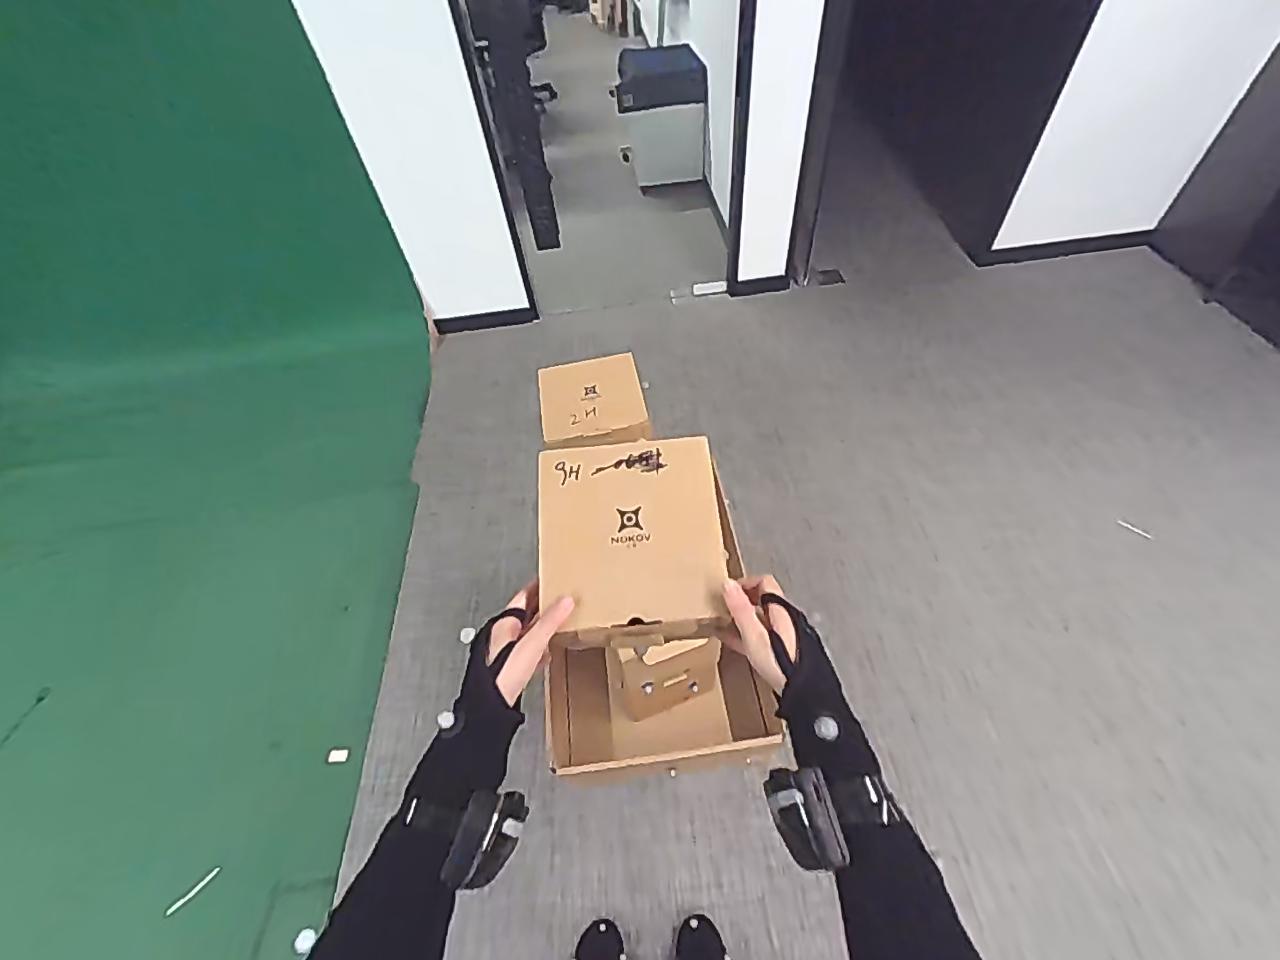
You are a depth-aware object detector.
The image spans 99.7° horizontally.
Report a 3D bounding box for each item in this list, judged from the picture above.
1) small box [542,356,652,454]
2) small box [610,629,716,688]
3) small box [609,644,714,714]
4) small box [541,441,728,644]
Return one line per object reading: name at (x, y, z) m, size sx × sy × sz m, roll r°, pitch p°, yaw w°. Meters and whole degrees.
small box at (-0.070, -0.086, 0.943) m, size 0.168 × 0.176 × 0.179 m, roll -11°, pitch 52°, yaw -1°
small box at (0.023, 0.224, 0.901) m, size 0.168 × 0.176 × 0.179 m, roll -18°, pitch 51°, yaw -10°
small box at (0.033, 0.324, 1.030) m, size 0.168 × 0.176 × 0.179 m, roll -18°, pitch 52°, yaw -9°
small box at (-0.006, 0.077, 0.566) m, size 0.168 × 0.176 × 0.179 m, roll -5°, pitch 70°, yaw 0°
